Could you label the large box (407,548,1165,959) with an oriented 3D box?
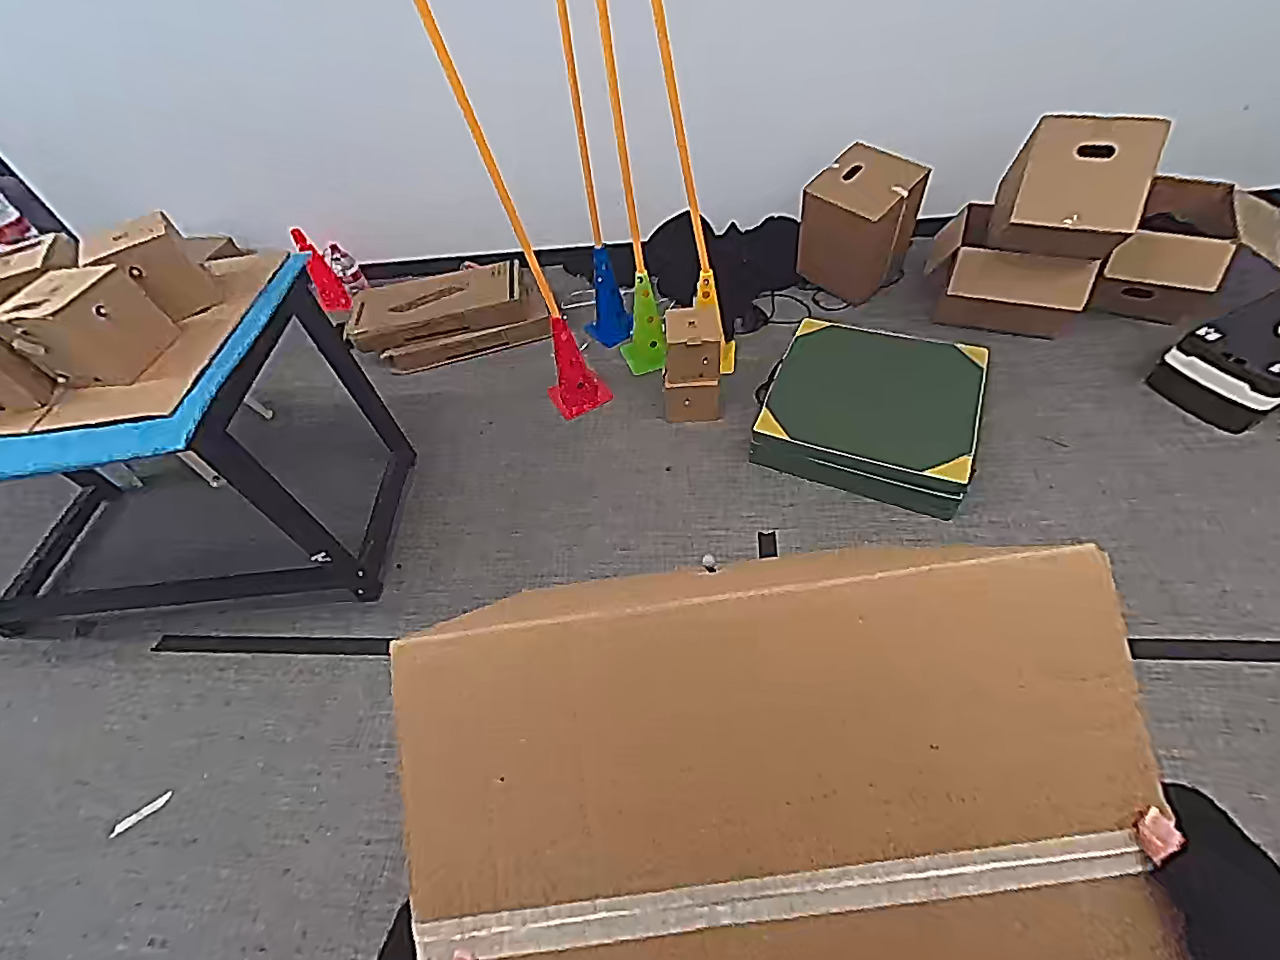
[{"bbox_3d":[0.086,0.243,0.449,0.408,0.320,0.320,-9,83,1],"label":"large box"}]
